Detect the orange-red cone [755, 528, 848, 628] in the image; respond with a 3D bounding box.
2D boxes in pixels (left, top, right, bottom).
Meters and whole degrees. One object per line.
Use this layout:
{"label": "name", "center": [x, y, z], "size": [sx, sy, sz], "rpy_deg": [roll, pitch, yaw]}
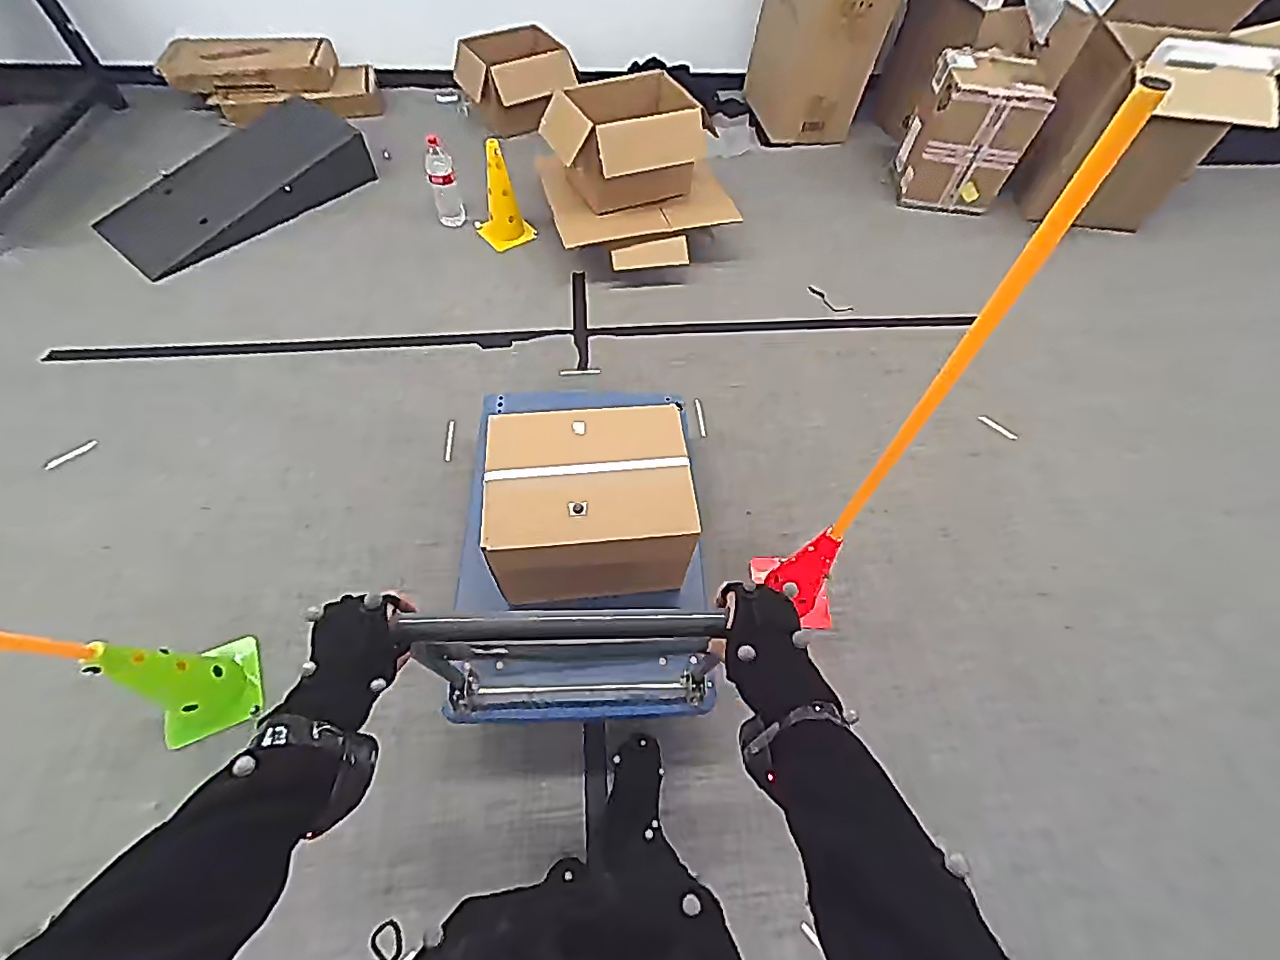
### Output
{"label": "orange-red cone", "center": [0.422, 0.210, 1.314], "size": [0.199, 0.360, 0.198], "rpy_deg": [3, 58, -3]}
